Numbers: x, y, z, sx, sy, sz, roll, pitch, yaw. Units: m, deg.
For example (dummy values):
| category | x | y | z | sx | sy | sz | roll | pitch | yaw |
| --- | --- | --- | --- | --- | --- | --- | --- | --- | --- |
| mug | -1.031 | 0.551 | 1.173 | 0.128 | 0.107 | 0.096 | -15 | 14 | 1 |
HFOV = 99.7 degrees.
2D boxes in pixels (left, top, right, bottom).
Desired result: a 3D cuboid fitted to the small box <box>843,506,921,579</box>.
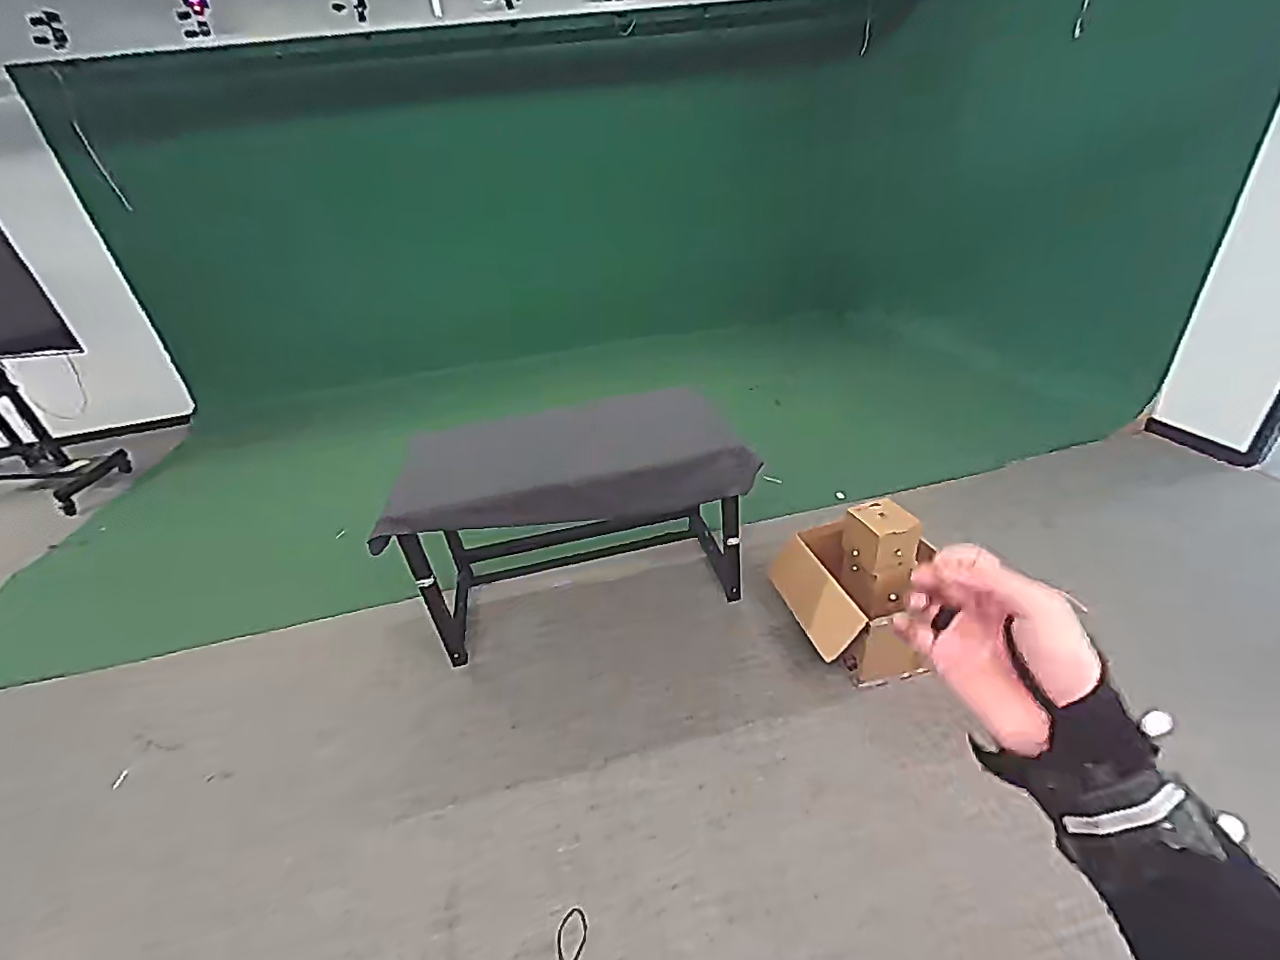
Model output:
| category | x | y | z | sx | sy | sz | roll | pitch | yaw |
| --- | --- | --- | --- | --- | --- | --- | --- | --- | --- |
| small box | 0.819 | 0.219 | 1.846 | 0.168 | 0.176 | 0.179 | -15 | 31 | -14 |
